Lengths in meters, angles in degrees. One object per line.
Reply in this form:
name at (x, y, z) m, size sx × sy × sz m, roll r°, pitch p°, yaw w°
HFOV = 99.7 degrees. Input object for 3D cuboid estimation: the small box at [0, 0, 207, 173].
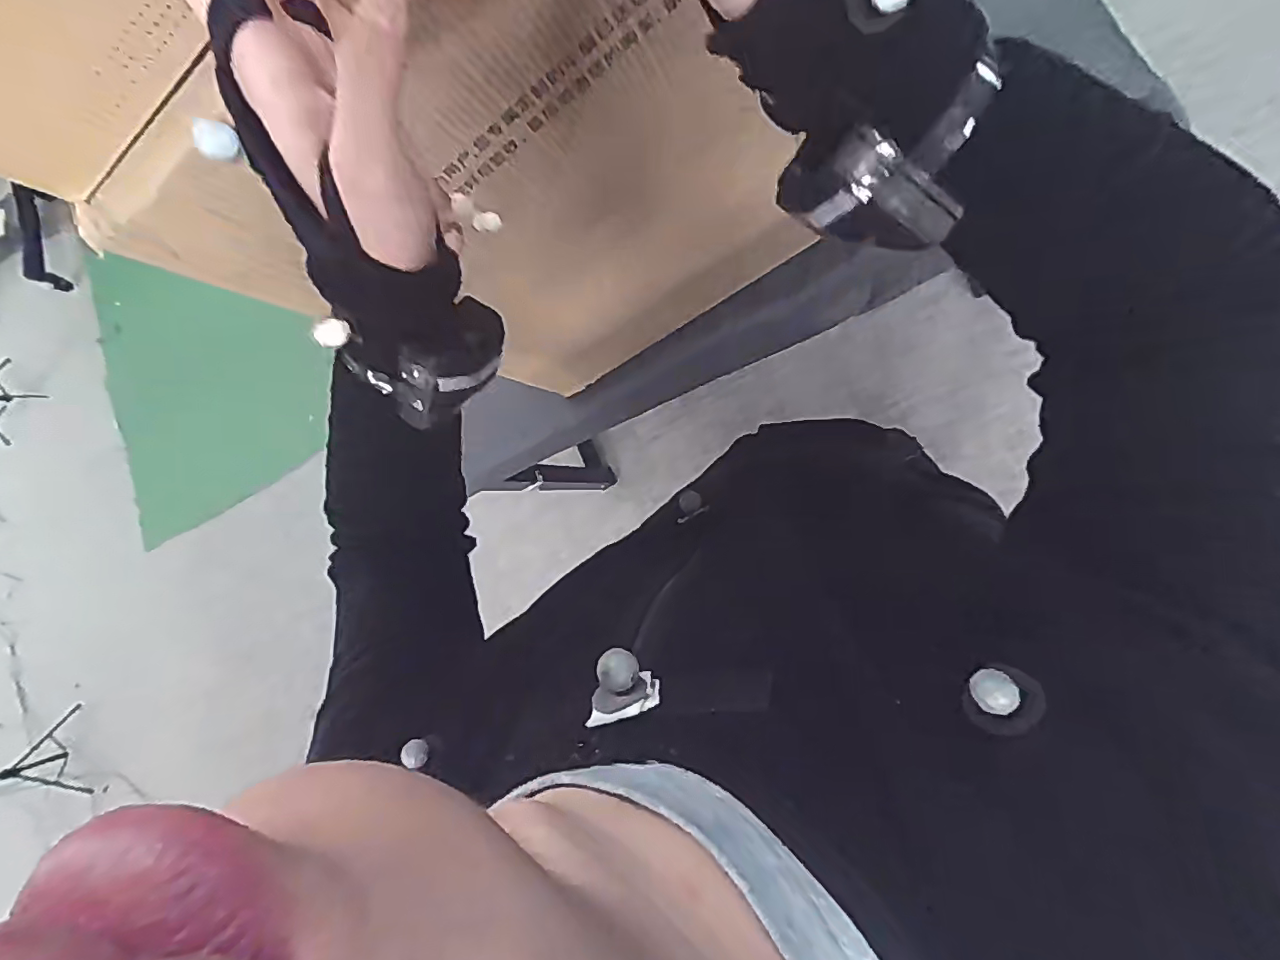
small box at (-0.352, -0.296, 0.259) m, size 0.179 × 0.176 × 0.168 m, roll -28°, pitch 80°, yaw 22°
